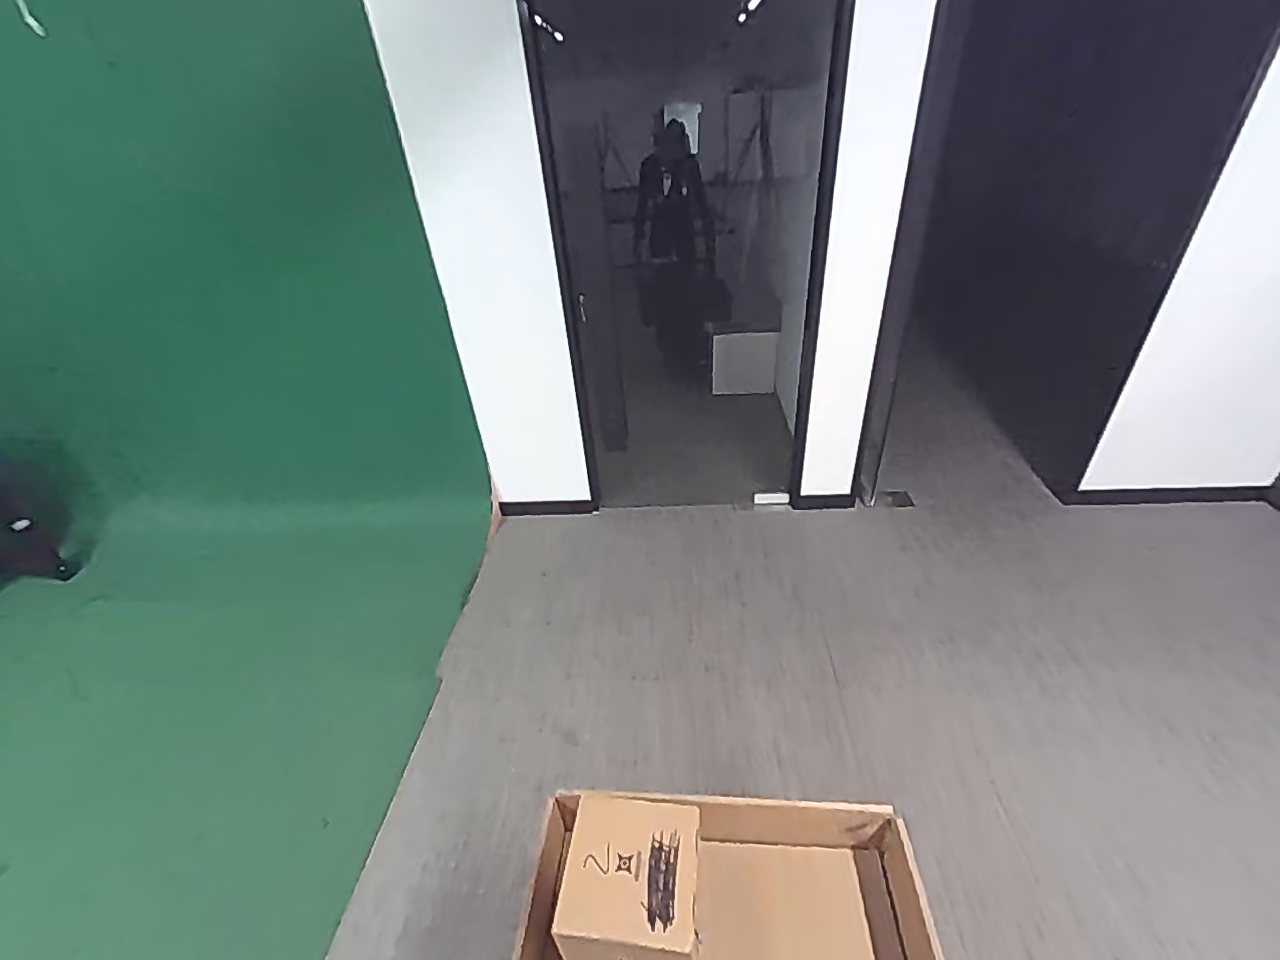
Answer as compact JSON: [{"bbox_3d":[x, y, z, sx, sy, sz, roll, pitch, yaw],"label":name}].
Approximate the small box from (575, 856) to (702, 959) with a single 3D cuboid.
[{"bbox_3d":[0.005,0.715,0.831,0.179,0.176,0.168,0,33,8],"label":"small box"}]
